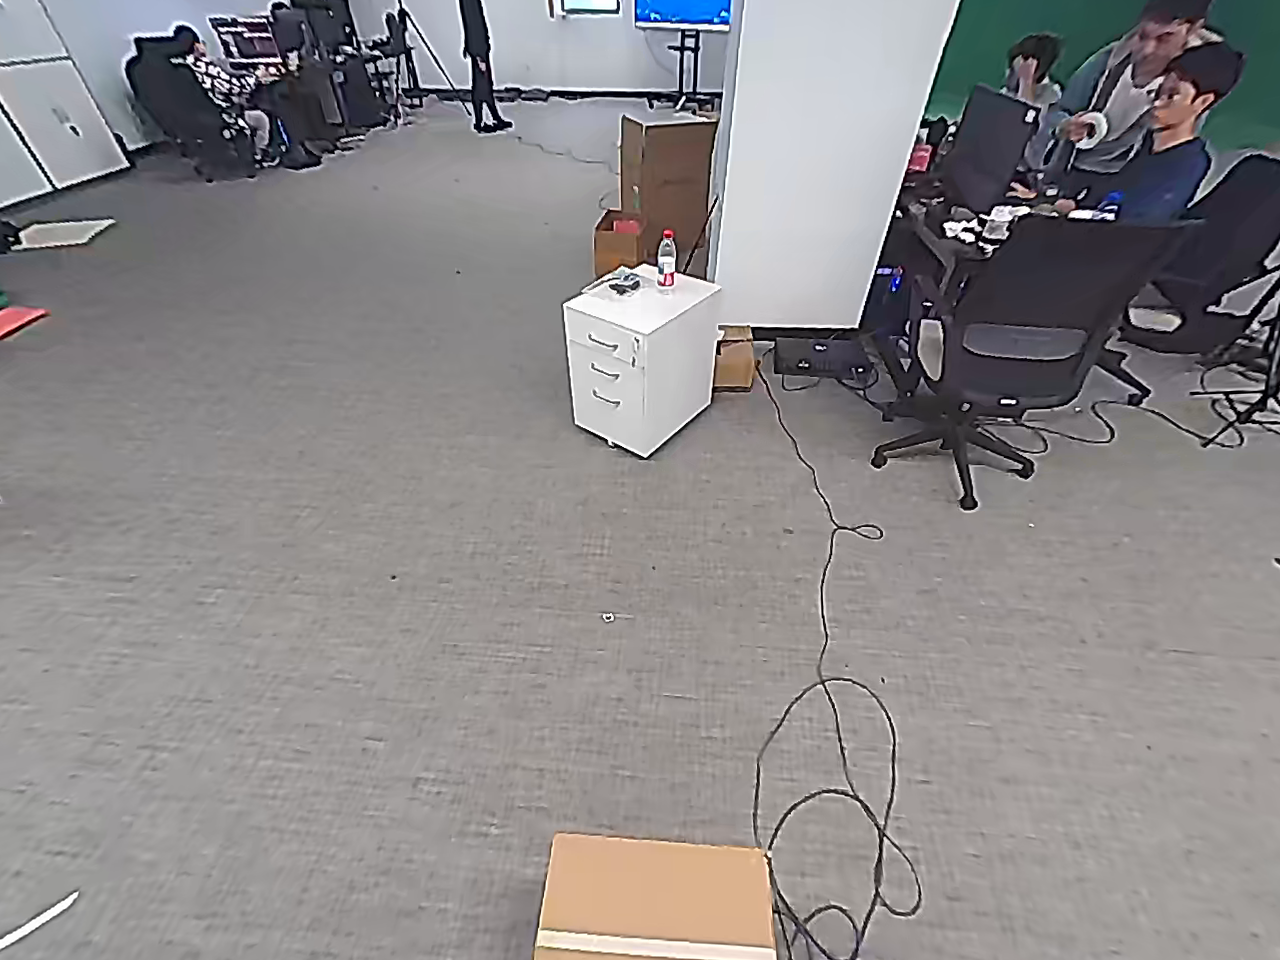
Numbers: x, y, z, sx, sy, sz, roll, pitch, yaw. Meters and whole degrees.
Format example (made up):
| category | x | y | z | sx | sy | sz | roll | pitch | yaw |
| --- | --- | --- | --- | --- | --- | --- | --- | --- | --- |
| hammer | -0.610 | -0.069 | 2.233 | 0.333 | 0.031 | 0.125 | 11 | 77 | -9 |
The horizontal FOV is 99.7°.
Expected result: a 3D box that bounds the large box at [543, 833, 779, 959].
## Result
| category | x | y | z | sx | sy | sz | roll | pitch | yaw |
| --- | --- | --- | --- | --- | --- | --- | --- | --- | --- |
| large box | 0.036 | 0.901 | 1.017 | 0.408 | 0.320 | 0.320 | 2 | 42 | 3 |
